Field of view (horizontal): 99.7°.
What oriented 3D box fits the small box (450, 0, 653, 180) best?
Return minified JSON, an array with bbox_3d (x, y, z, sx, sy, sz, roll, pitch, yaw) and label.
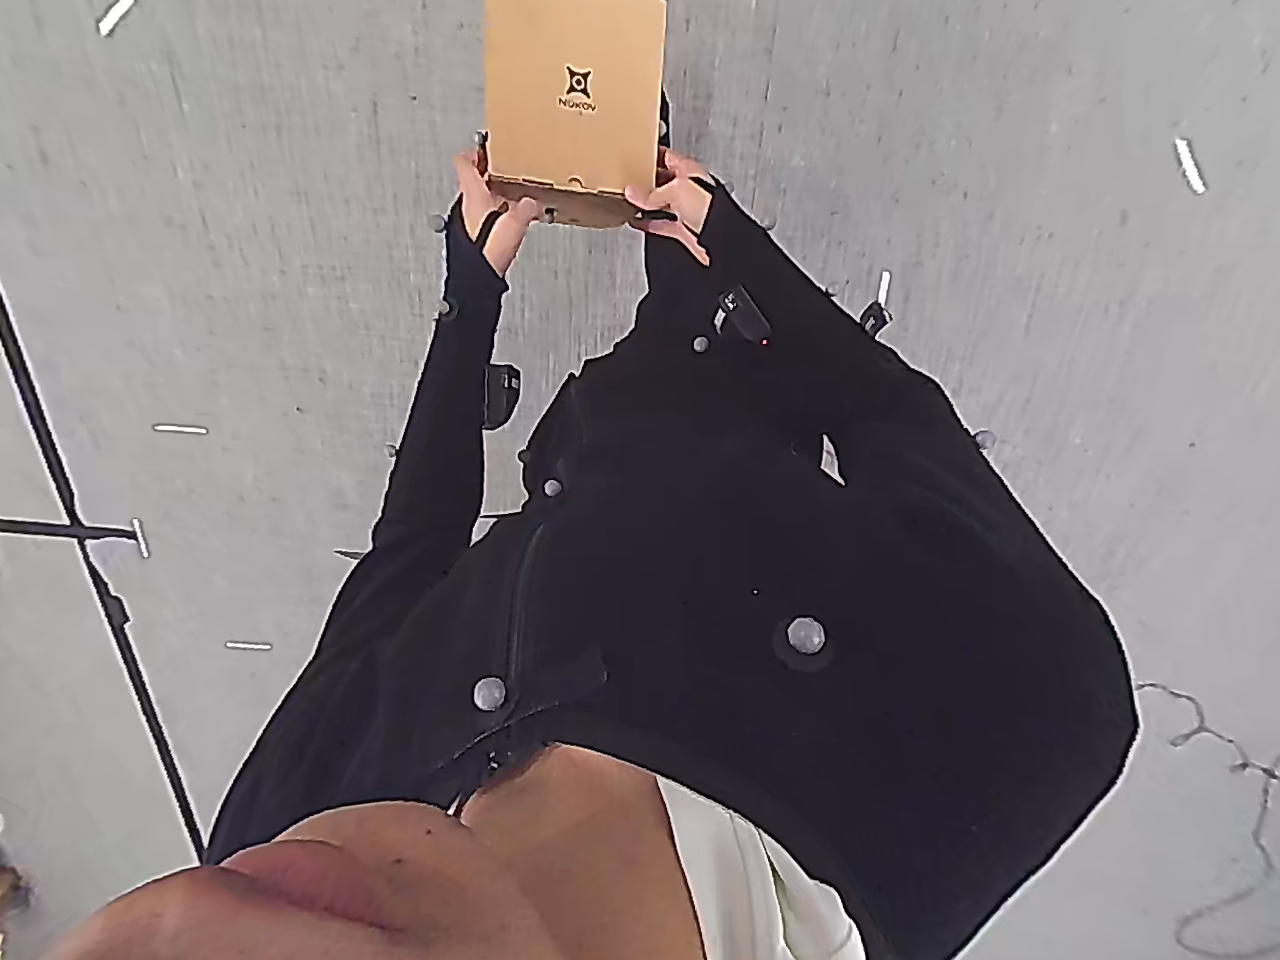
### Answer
[{"bbox_3d":[-0.091,-0.408,0.511,0.168,0.176,0.179,-2,107,-16],"label":"small box"}]
